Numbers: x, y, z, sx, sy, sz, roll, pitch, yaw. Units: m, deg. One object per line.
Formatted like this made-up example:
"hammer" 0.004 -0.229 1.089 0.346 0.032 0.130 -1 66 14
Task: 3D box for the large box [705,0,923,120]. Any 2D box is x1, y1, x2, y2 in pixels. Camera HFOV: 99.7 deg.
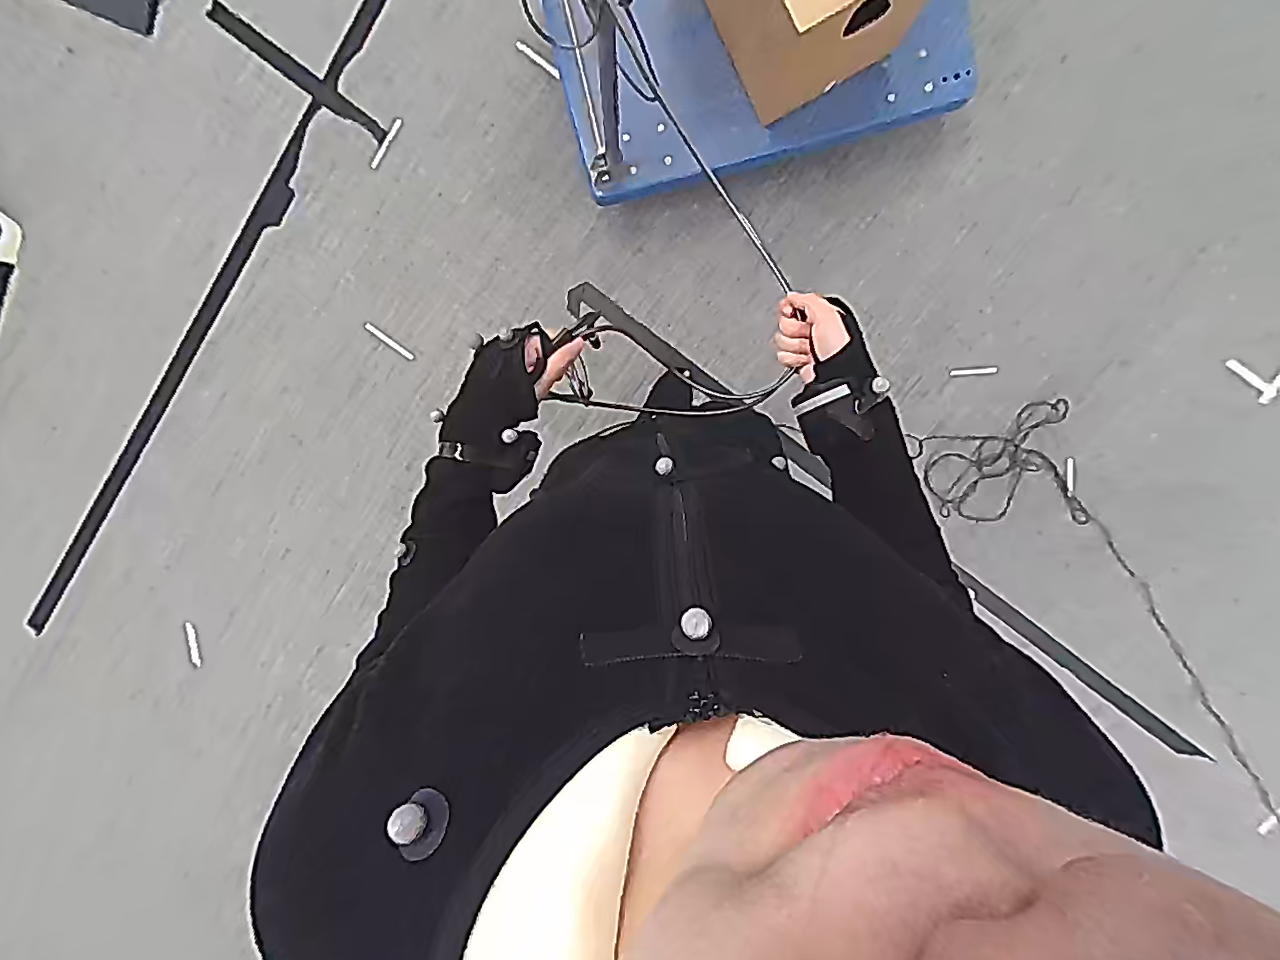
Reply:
"large box" 0.304 -0.998 0.995 0.320 0.320 0.408 -28 98 6
